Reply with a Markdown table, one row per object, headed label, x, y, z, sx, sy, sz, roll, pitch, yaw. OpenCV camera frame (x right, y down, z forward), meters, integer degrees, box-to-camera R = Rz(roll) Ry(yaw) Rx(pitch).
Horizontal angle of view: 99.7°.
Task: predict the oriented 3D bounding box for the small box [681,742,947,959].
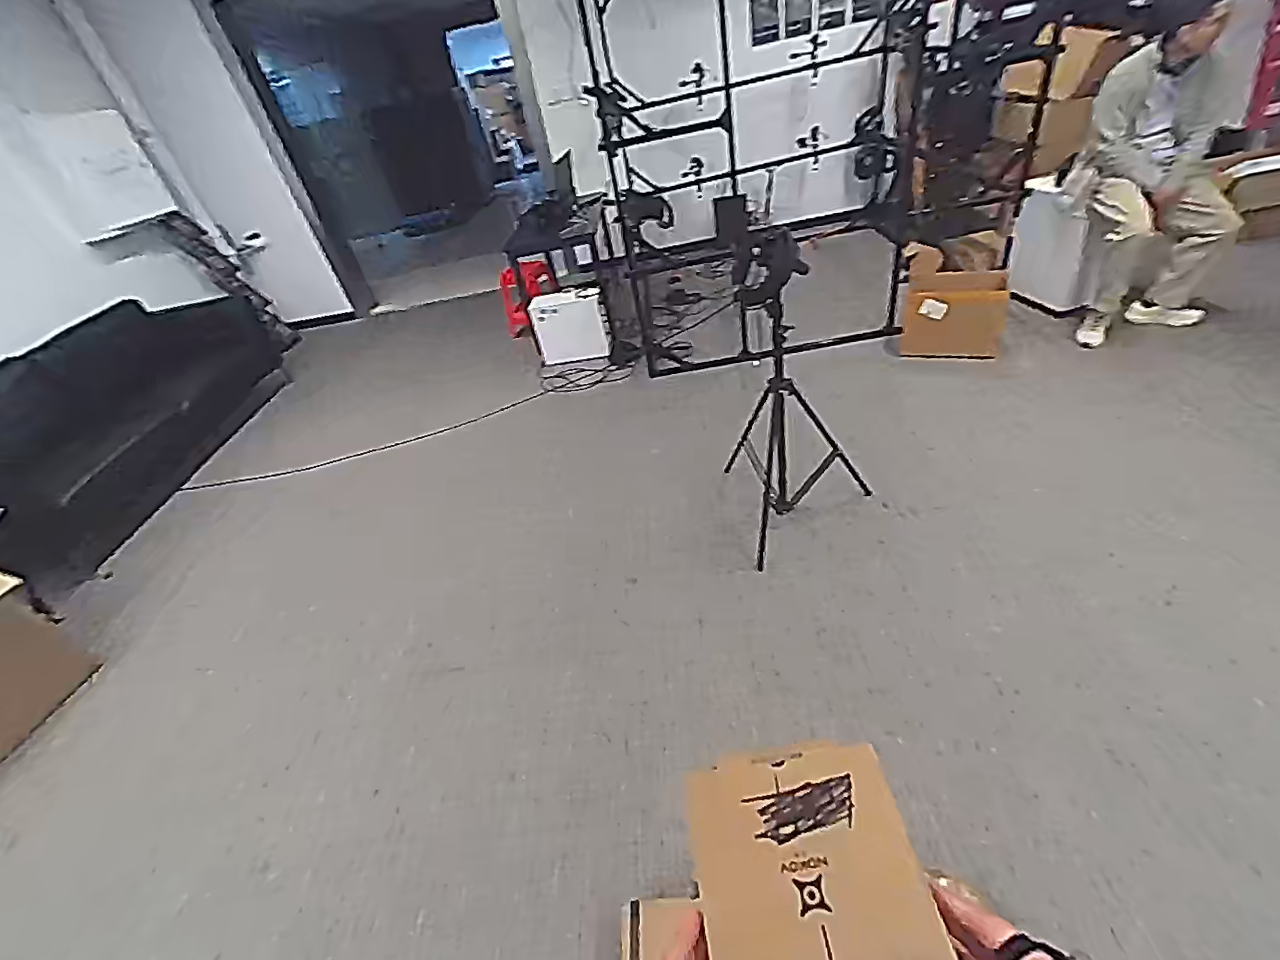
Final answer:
| label | x | y | z | sx | sy | sz | roll | pitch | yaw |
| --- | --- | --- | --- | --- | --- | --- | --- | --- | --- |
| small box | 0.132 | 0.354 | 0.460 | 0.168 | 0.176 | 0.179 | -10 | 44 | 2 |
